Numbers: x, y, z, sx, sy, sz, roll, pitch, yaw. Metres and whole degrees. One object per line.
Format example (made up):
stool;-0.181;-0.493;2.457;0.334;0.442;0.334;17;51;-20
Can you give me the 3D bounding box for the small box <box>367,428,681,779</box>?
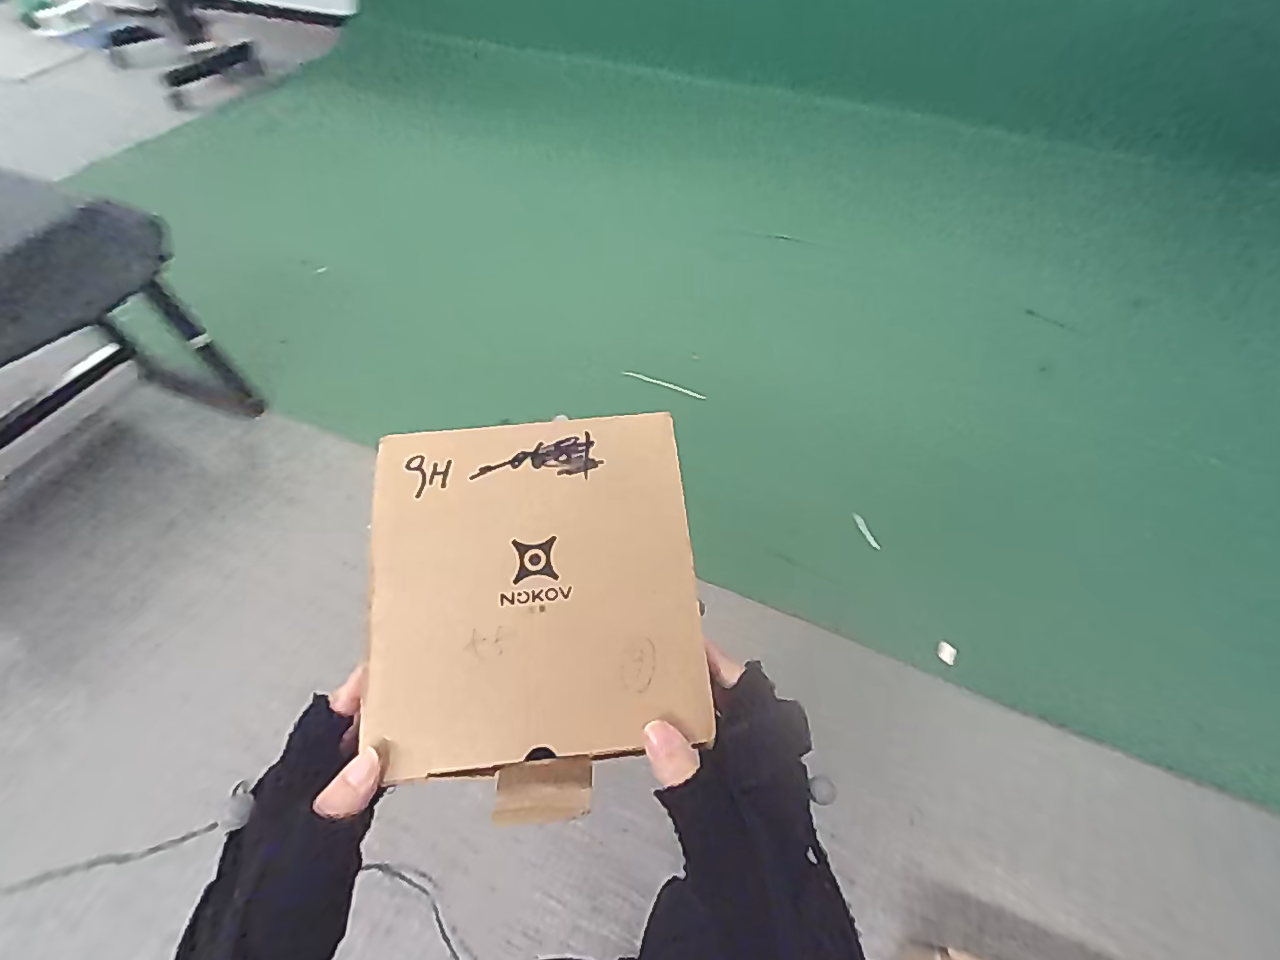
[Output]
small box;-0.070;0.086;0.379;0.168;0.176;0.179;-9;70;-4
